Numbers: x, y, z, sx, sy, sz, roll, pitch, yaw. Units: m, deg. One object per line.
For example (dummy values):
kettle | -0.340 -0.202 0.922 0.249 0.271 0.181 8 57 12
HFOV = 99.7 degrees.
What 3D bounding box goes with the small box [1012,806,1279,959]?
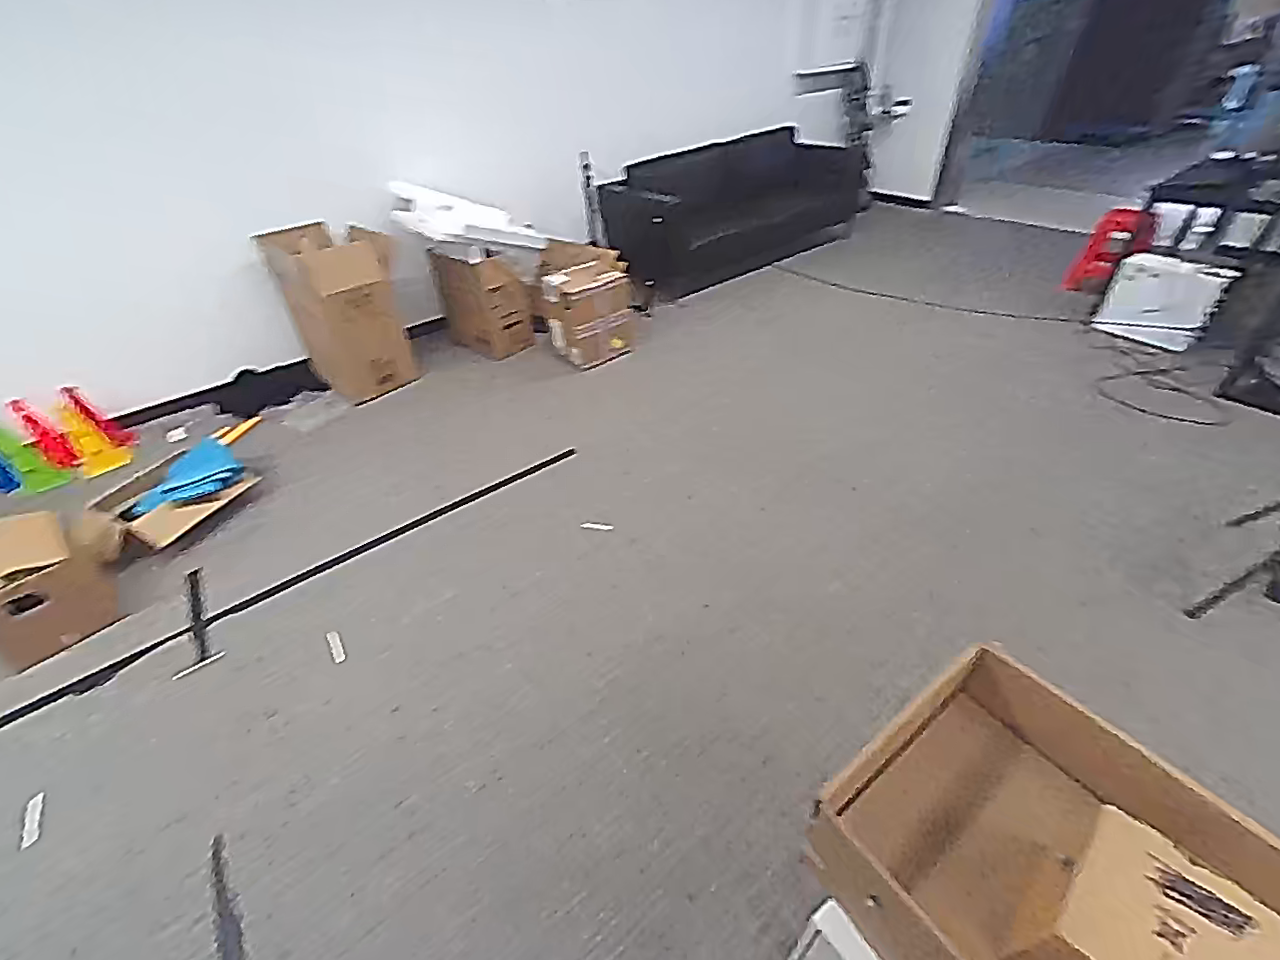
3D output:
small box | 0.560 0.524 0.608 0.179 0.176 0.168 -34 47 -29
